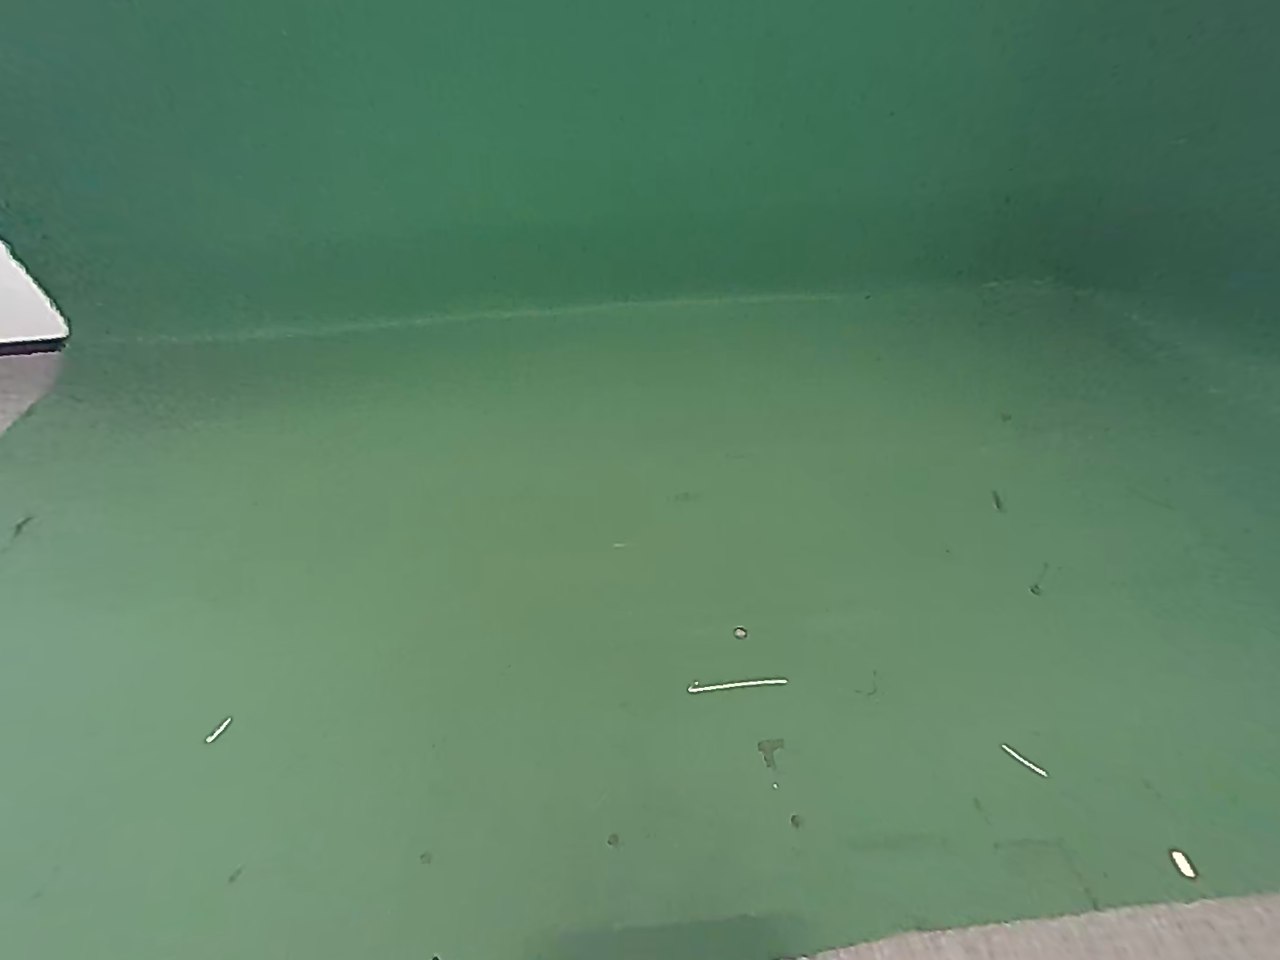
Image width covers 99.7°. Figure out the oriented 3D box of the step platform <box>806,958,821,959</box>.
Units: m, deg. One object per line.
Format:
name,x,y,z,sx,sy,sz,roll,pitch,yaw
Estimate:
step platform,0.054,1.050,0.923,0.684,0.204,0.286,-6,47,-3
